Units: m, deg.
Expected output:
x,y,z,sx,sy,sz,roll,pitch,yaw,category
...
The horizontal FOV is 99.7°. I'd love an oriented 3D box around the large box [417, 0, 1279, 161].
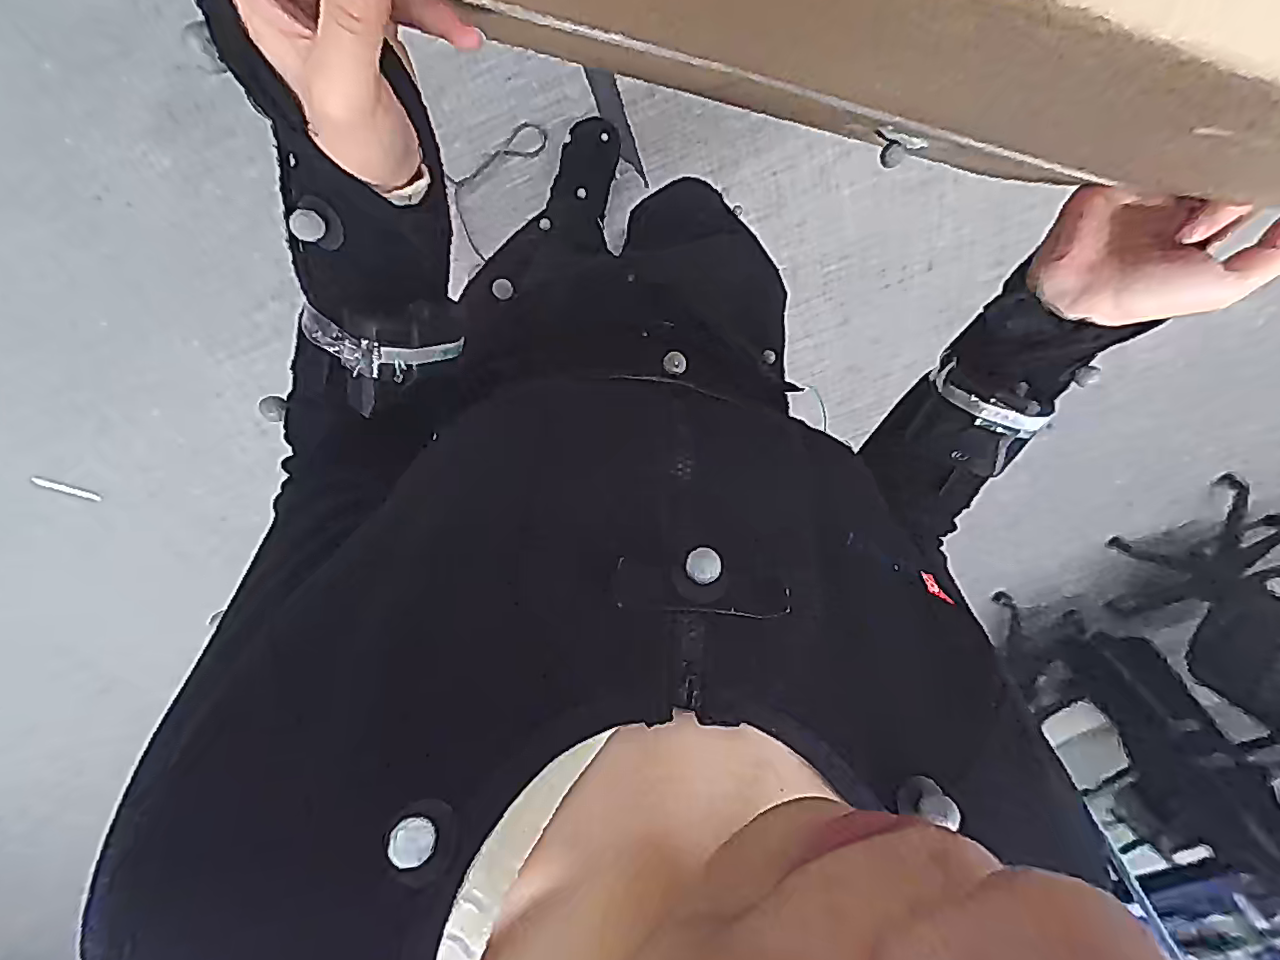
x,y,z,sx,sy,sz,roll,pitch,yaw,category
0.109,-0.310,0.151,0.408,0.320,0.320,5,123,-12,large box
